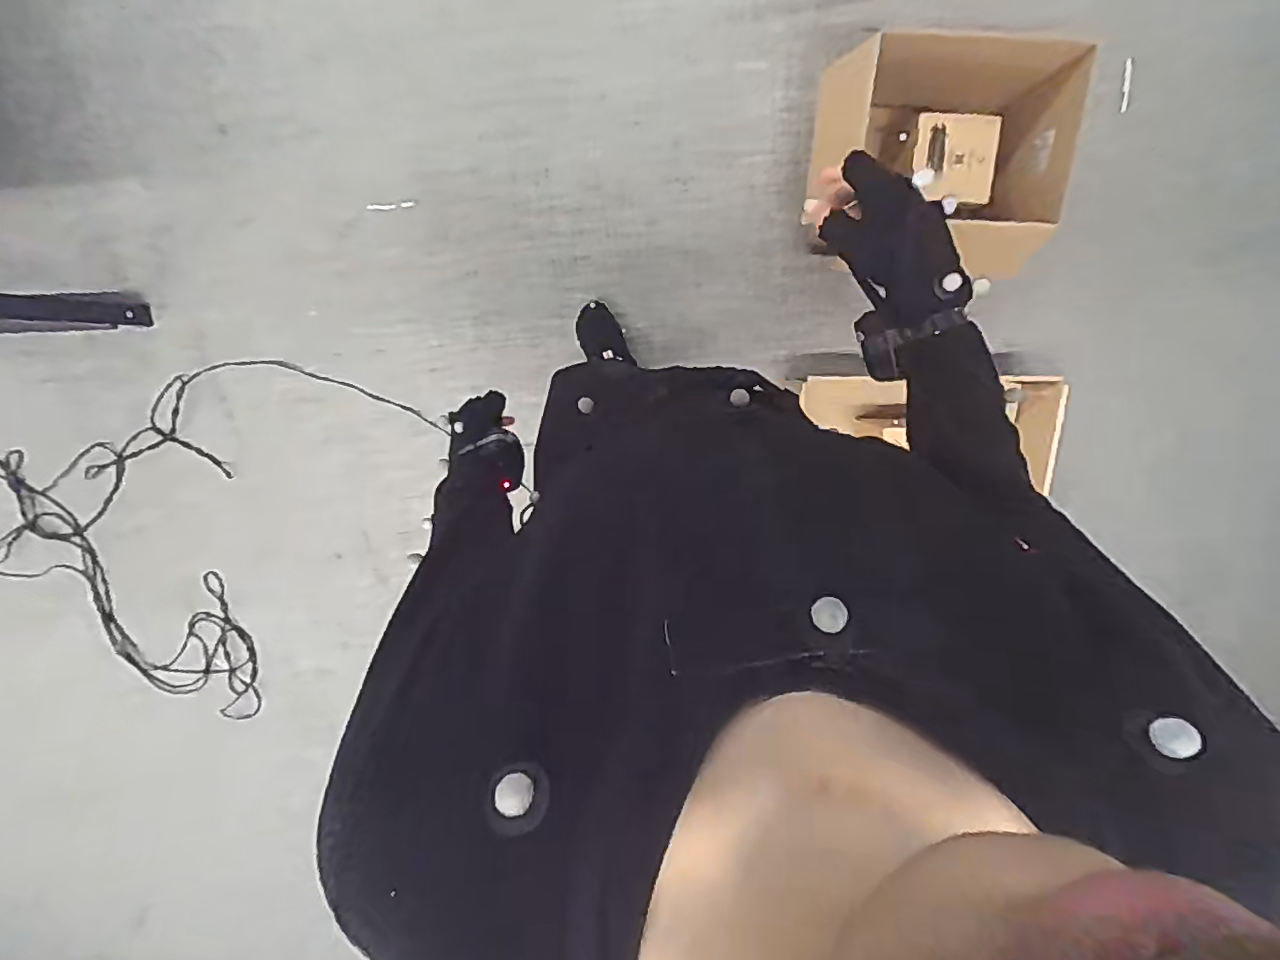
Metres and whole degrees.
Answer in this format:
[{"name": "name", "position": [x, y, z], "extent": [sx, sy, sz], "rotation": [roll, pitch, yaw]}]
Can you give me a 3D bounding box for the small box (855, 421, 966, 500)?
[{"name": "small box", "position": [0.651, -0.053, 1.320], "extent": [0.179, 0.176, 0.168], "rotation": [0, 104, 0]}]
